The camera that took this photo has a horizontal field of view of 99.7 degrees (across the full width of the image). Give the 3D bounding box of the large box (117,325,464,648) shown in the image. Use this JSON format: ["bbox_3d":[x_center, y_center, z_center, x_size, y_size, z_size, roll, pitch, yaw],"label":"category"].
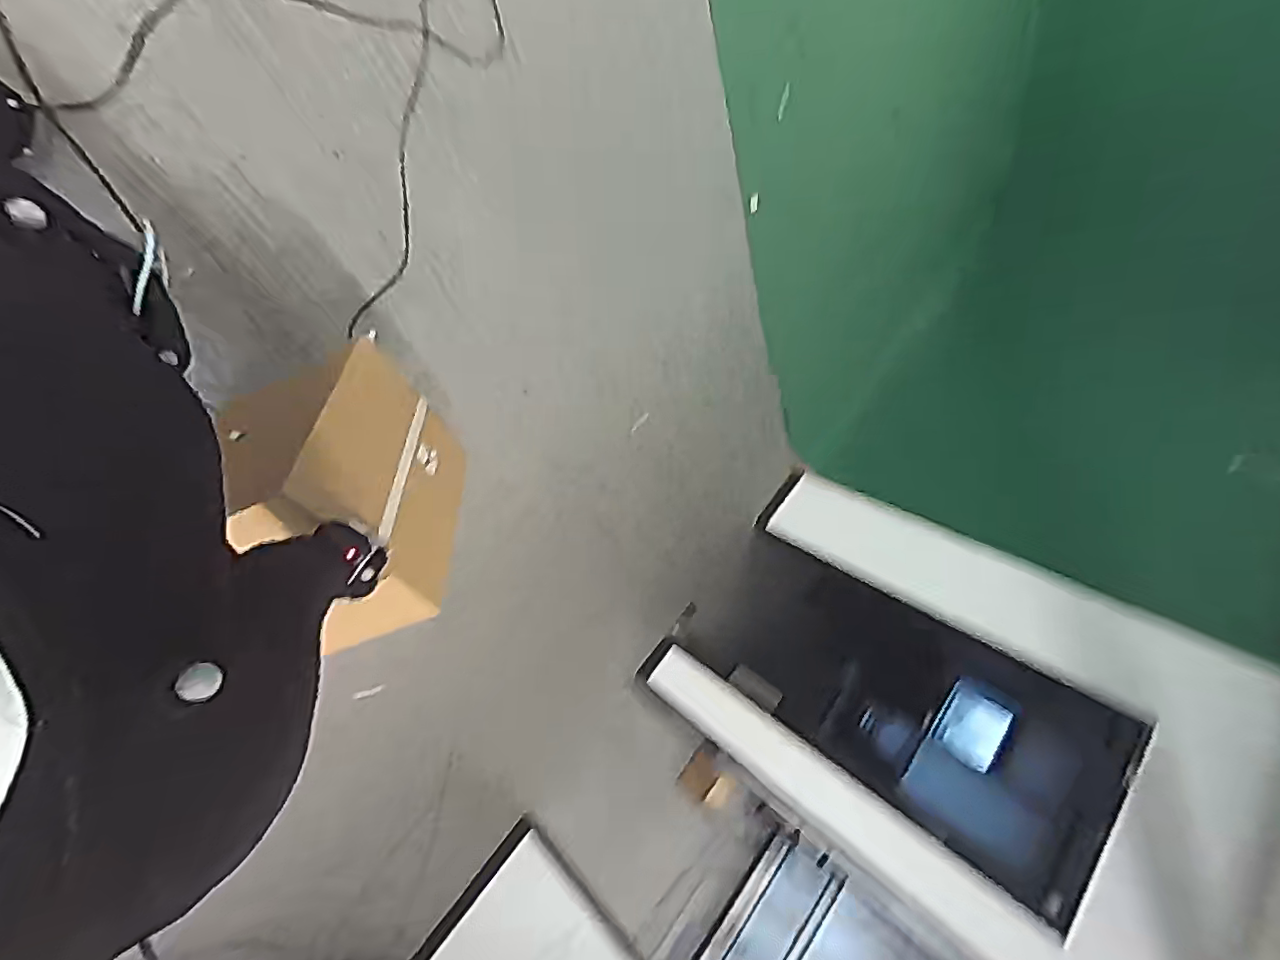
[{"bbox_3d":[-0.545,0.012,0.938,0.320,0.408,0.320,-21,133,11],"label":"large box"}]
